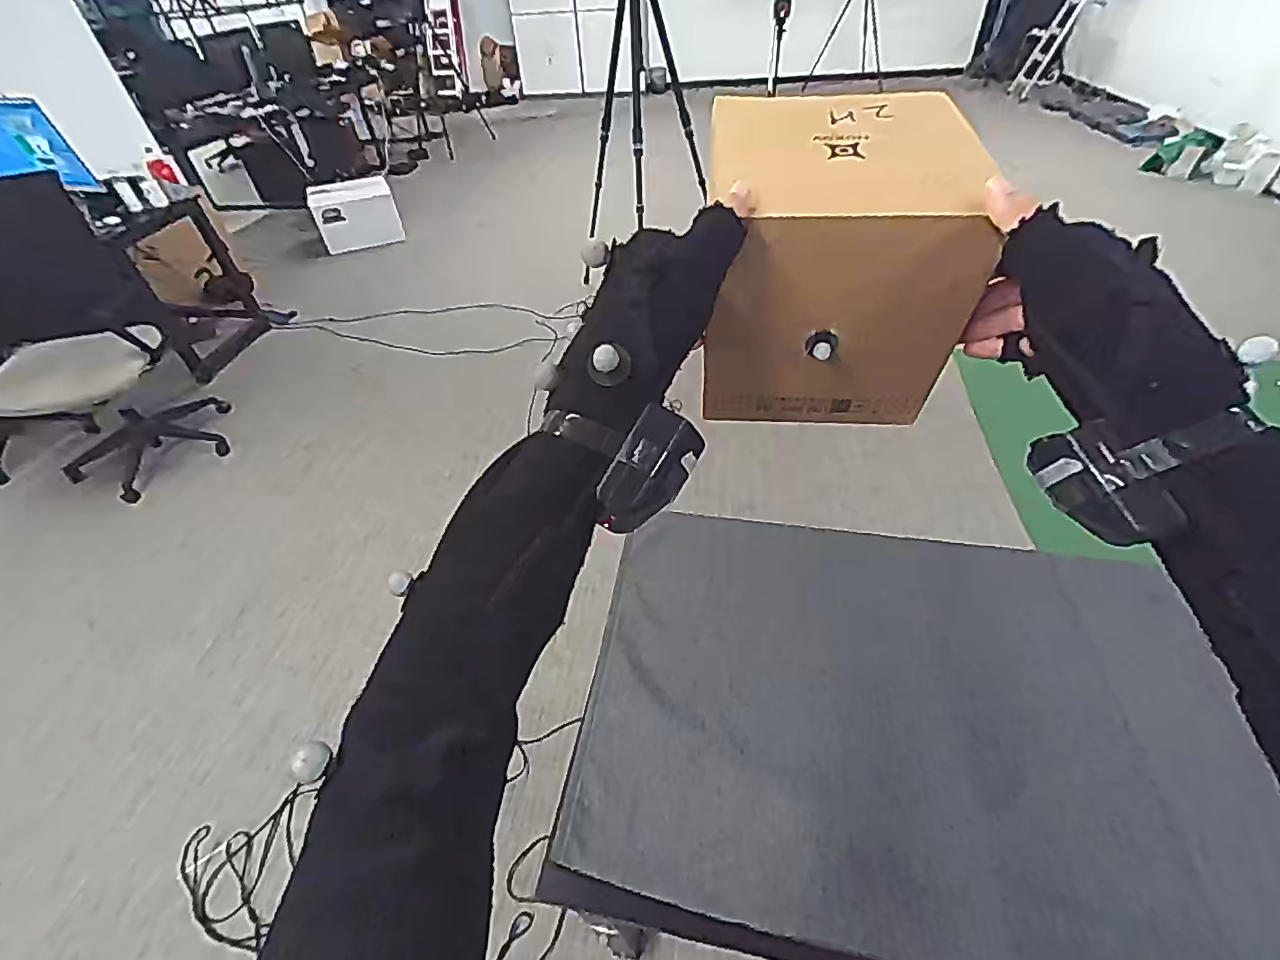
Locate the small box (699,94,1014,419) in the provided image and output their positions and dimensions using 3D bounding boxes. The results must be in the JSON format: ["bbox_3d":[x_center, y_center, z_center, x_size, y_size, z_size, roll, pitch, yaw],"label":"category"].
[{"bbox_3d":[0.133,-0.162,0.410,0.168,0.176,0.179,2,53,5],"label":"small box"}]
